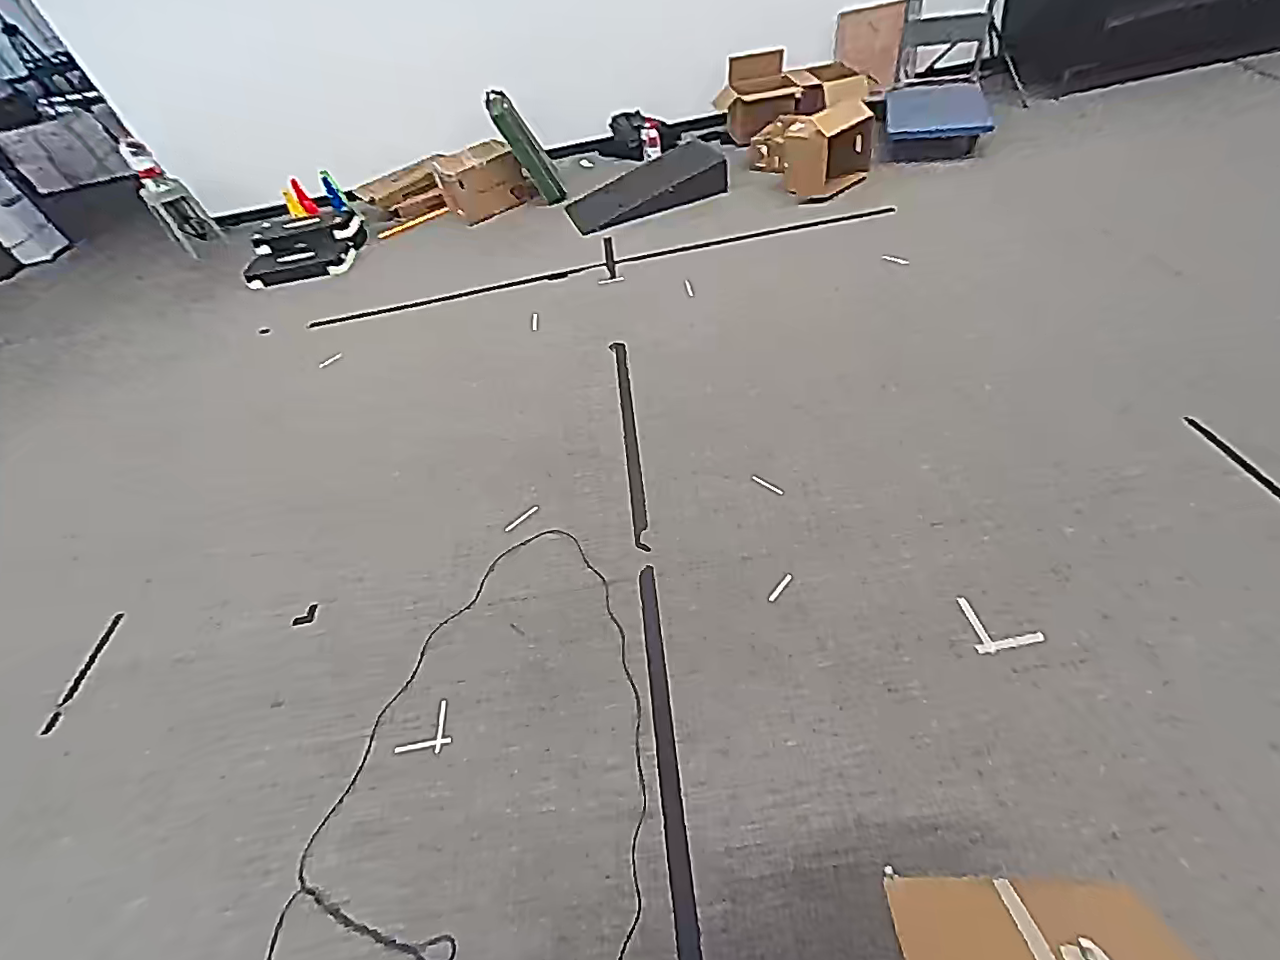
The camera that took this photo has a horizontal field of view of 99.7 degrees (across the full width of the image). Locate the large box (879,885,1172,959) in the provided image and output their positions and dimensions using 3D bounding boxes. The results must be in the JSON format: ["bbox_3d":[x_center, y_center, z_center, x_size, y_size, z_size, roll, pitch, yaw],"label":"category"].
[{"bbox_3d":[0.483,0.734,0.576,0.320,0.408,0.320,-7,88,12],"label":"large box"}]
